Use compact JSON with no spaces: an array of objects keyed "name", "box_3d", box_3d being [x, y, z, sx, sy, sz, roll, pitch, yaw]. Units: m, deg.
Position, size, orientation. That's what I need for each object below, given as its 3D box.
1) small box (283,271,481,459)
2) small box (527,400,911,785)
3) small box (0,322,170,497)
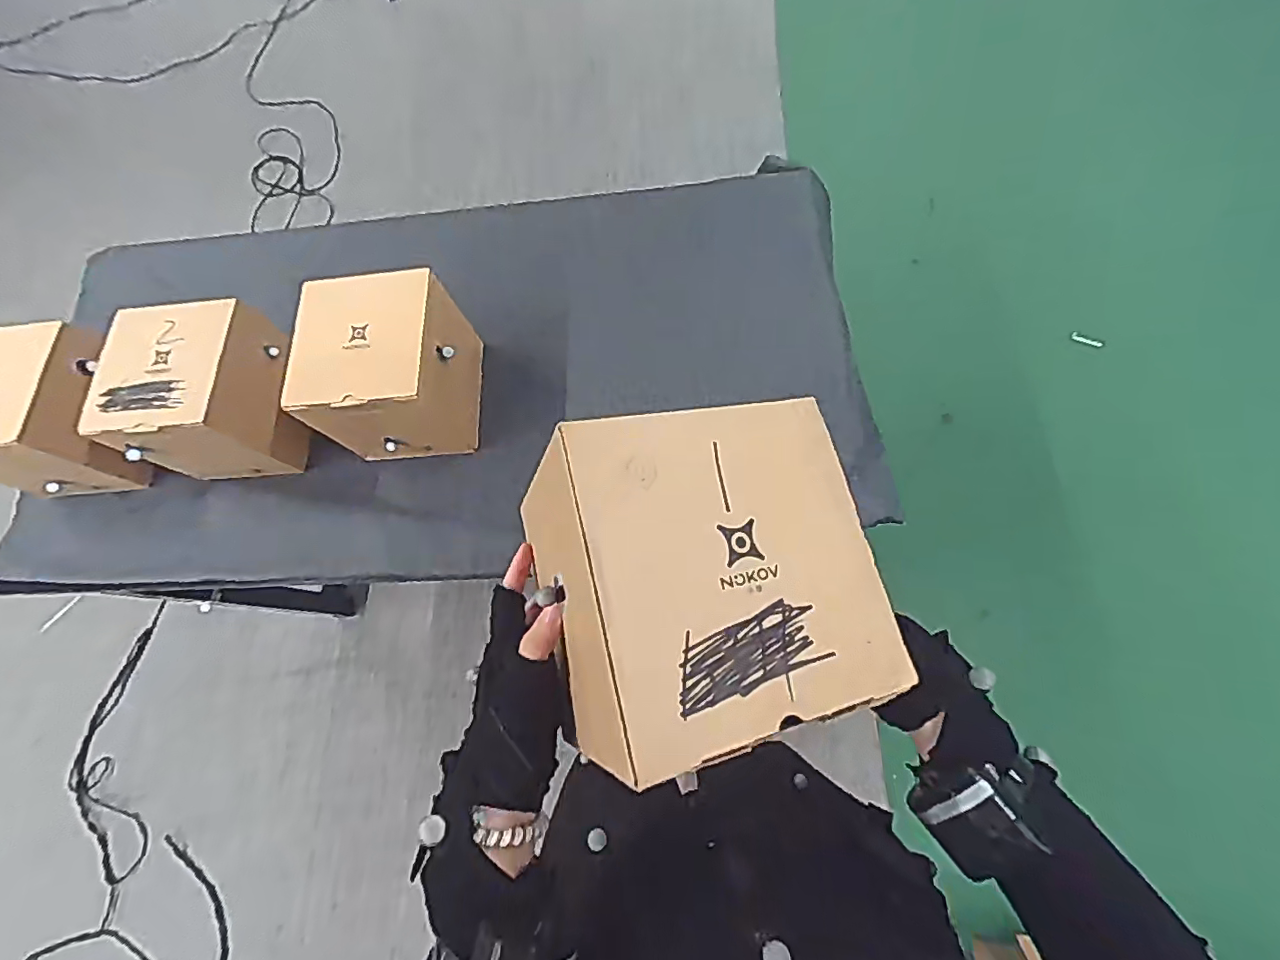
[{"name":"small box","box_3d":[-0.319,-0.141,0.707,0.168,0.176,0.179,-4,72,5]},{"name":"small box","box_3d":[0.029,0.066,0.355,0.168,0.176,0.179,-8,75,-22]},{"name":"small box","box_3d":[-0.802,-0.089,0.739,0.168,0.176,0.179,-5,70,4]}]
